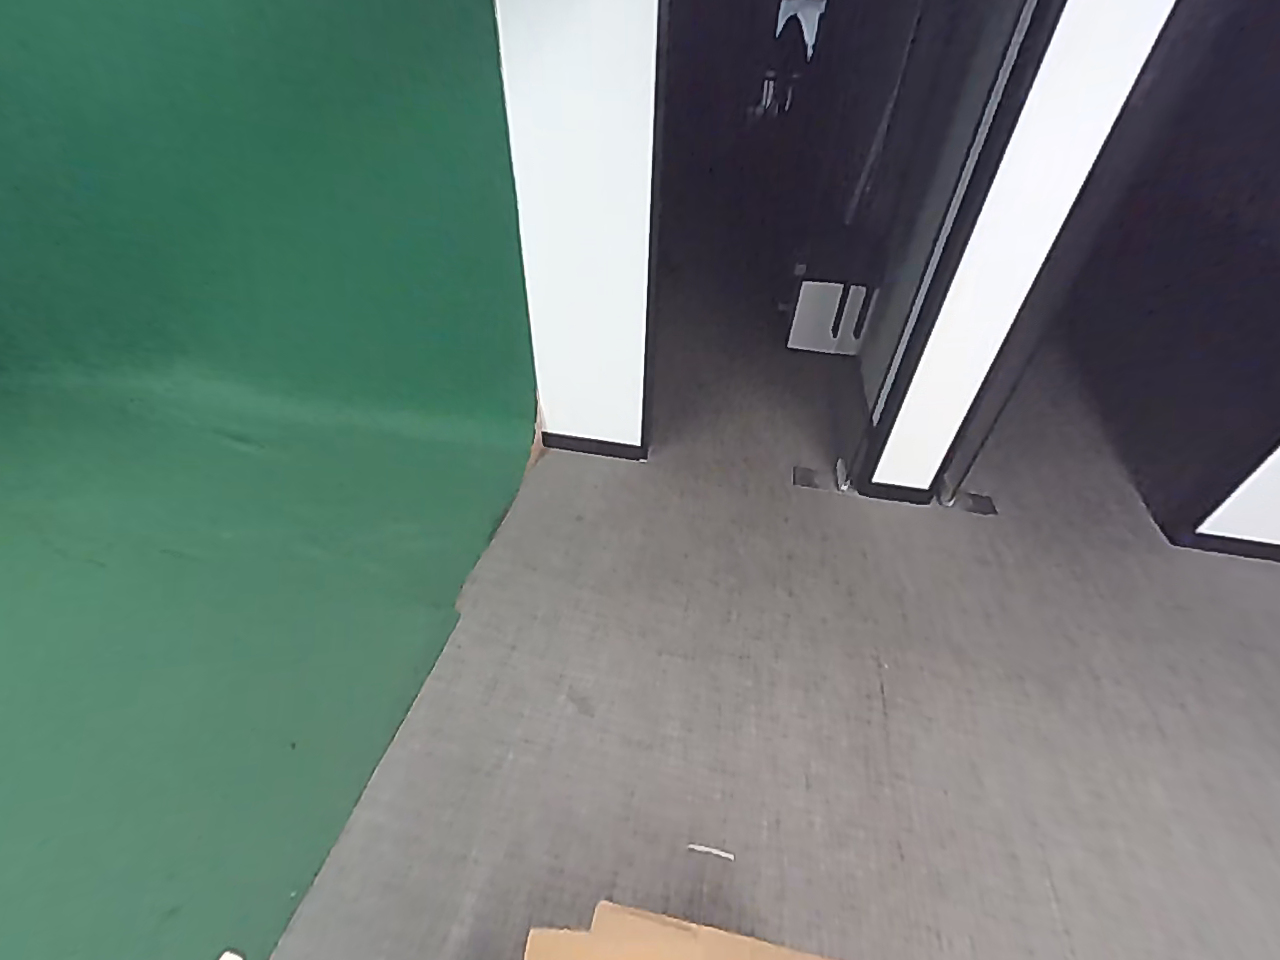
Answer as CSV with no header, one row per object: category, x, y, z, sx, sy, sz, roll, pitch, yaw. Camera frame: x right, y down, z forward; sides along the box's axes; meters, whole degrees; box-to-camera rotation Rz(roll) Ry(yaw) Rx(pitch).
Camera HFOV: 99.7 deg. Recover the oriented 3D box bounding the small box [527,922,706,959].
small box,-0.025,0.534,0.477,0.168,0.176,0.179,0,33,4
